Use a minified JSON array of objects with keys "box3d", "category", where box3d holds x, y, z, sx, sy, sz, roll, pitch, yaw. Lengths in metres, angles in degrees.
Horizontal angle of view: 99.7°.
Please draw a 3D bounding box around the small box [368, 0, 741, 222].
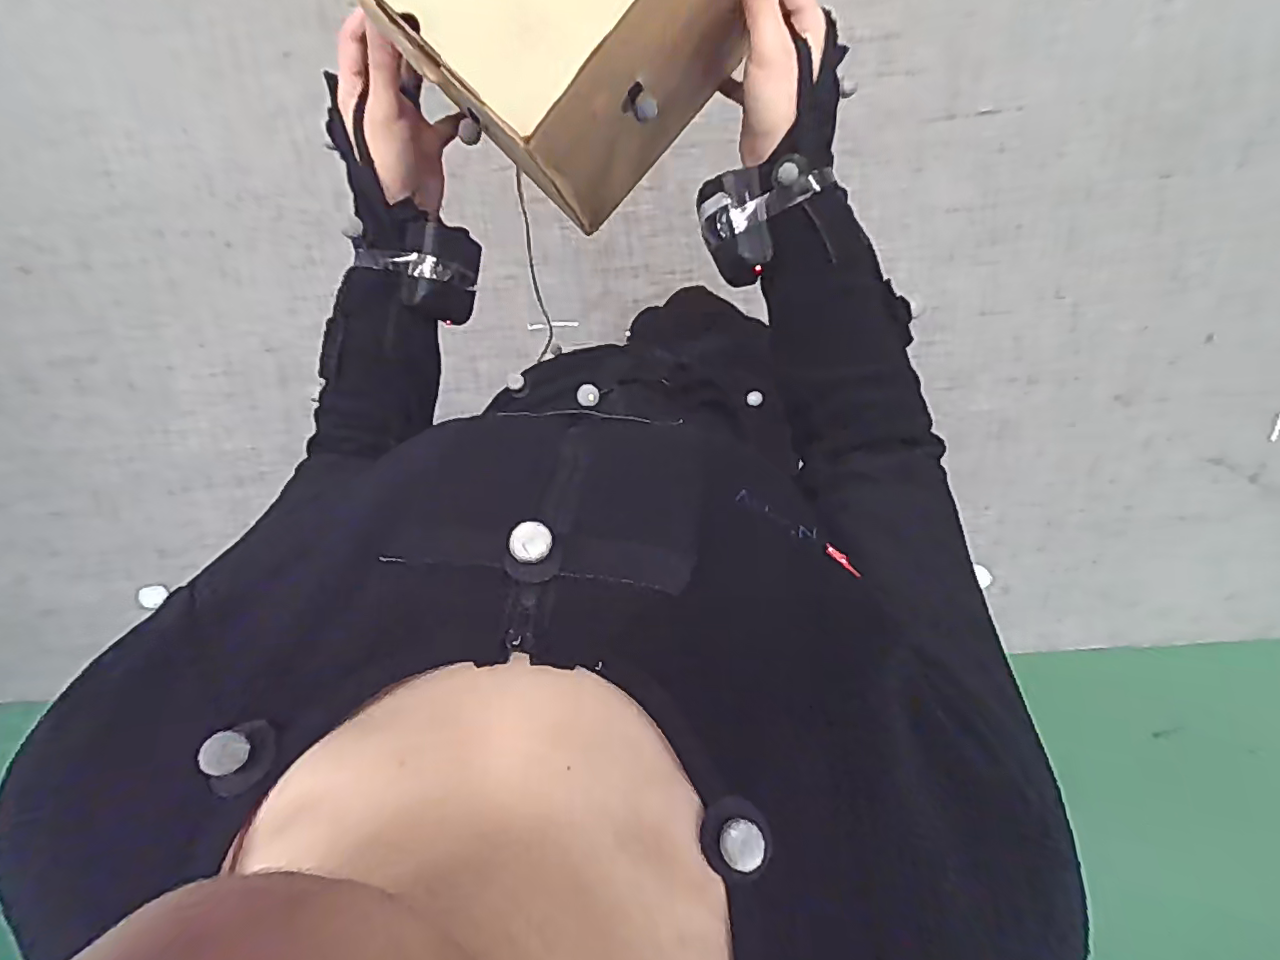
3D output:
[{"box3d":[-0.047,-0.303,0.343,0.168,0.176,0.179,44,101,-2],"category":"small box"}]
